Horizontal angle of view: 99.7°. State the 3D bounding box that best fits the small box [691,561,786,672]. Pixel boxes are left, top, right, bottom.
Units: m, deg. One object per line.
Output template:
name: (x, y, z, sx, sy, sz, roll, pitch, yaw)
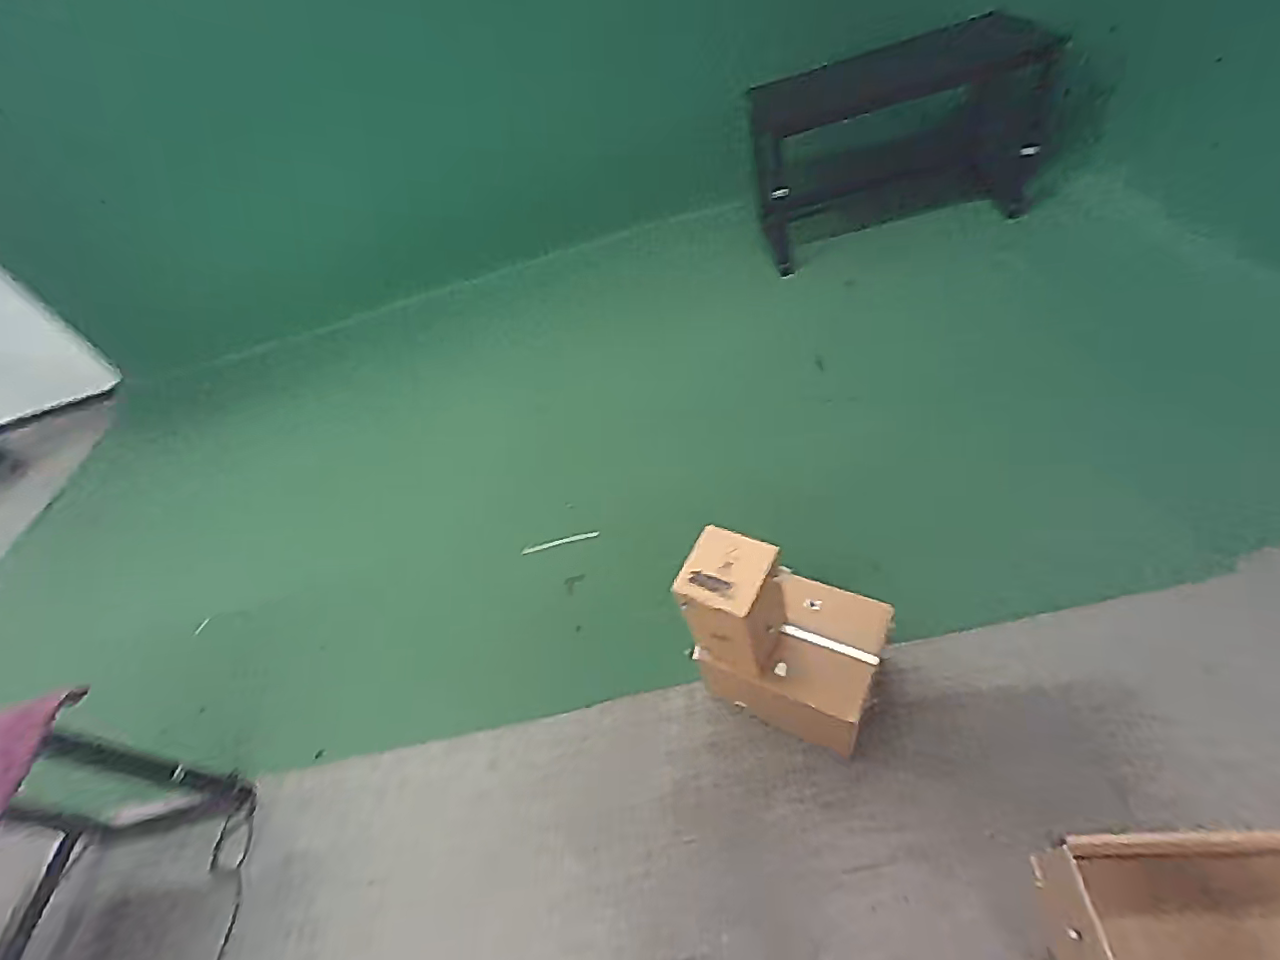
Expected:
small box: (0.246, 0.332, 1.301, 0.168, 0.176, 0.179, 19, 59, 30)
